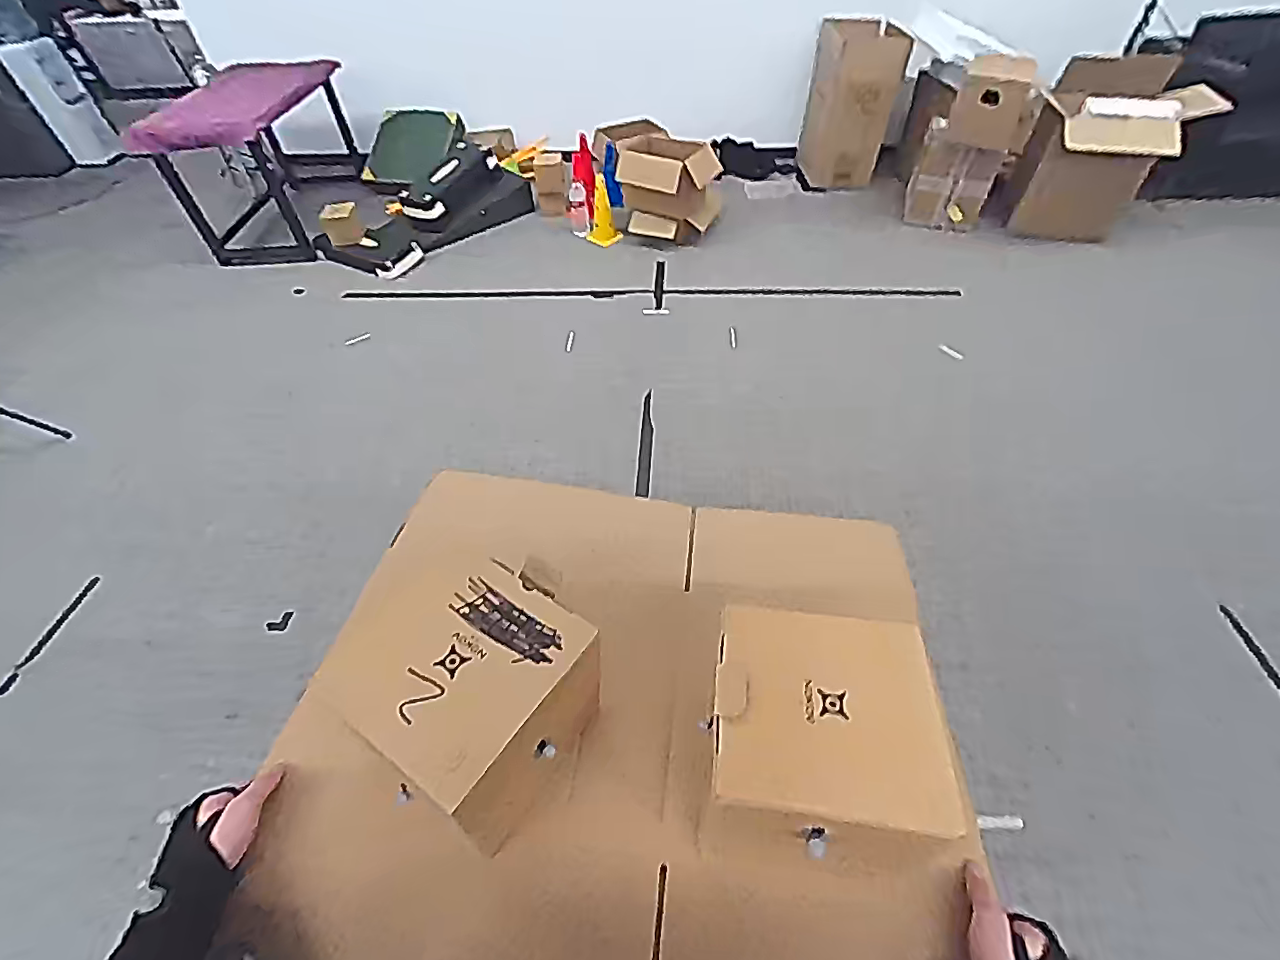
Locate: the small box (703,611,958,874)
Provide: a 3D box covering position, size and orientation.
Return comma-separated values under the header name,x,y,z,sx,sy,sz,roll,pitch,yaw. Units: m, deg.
name,x,y,z,sx,sy,sz,roll,pitch,yaw
small box,0.156,0.247,0.506,0.179,0.176,0.168,4,44,7
